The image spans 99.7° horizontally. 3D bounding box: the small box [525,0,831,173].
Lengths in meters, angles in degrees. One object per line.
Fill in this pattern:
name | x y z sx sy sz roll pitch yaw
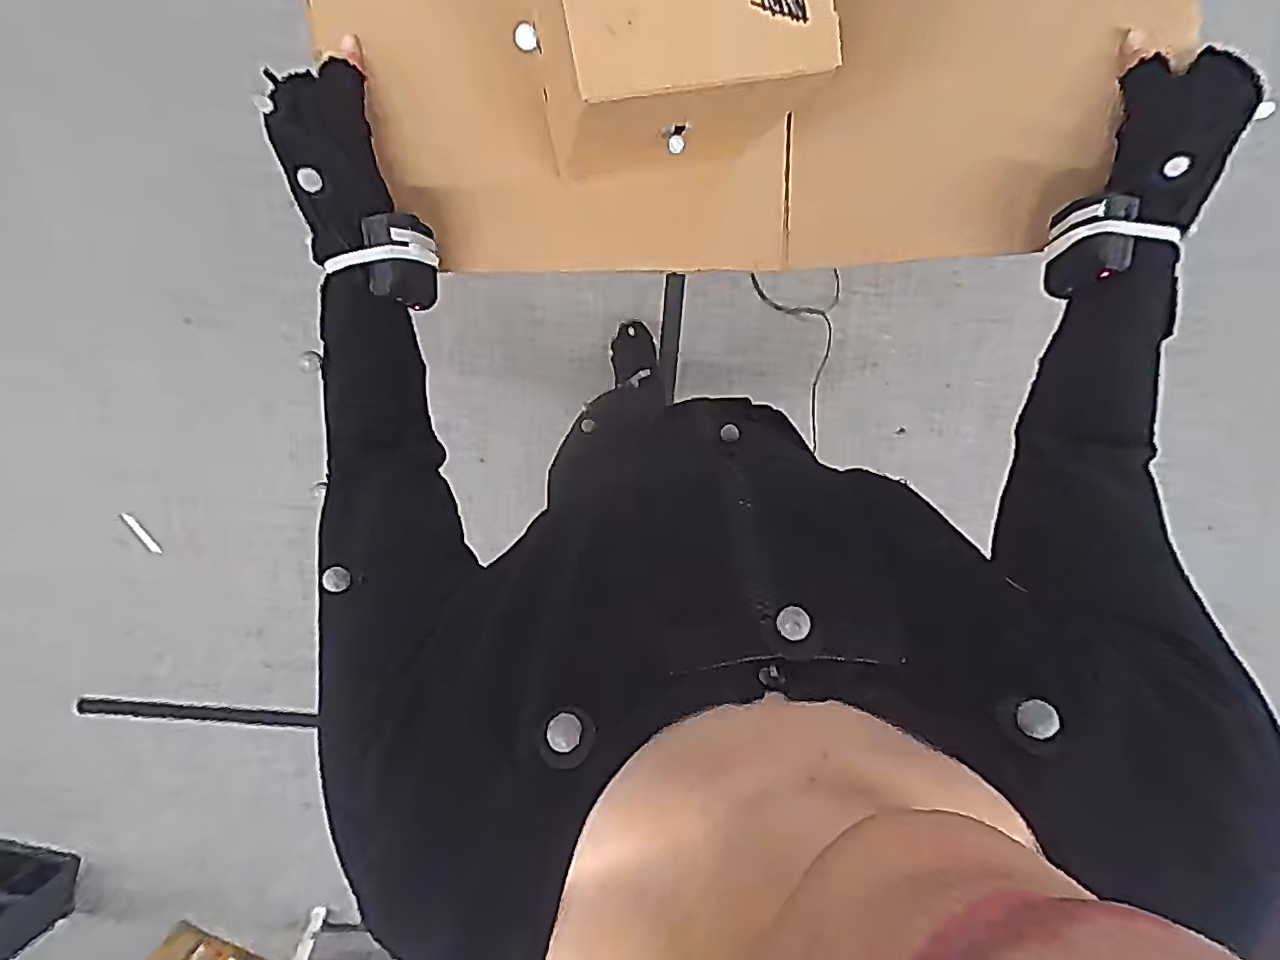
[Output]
small box | 0.014 -0.350 0.401 0.179 0.176 0.168 -14 105 -9
